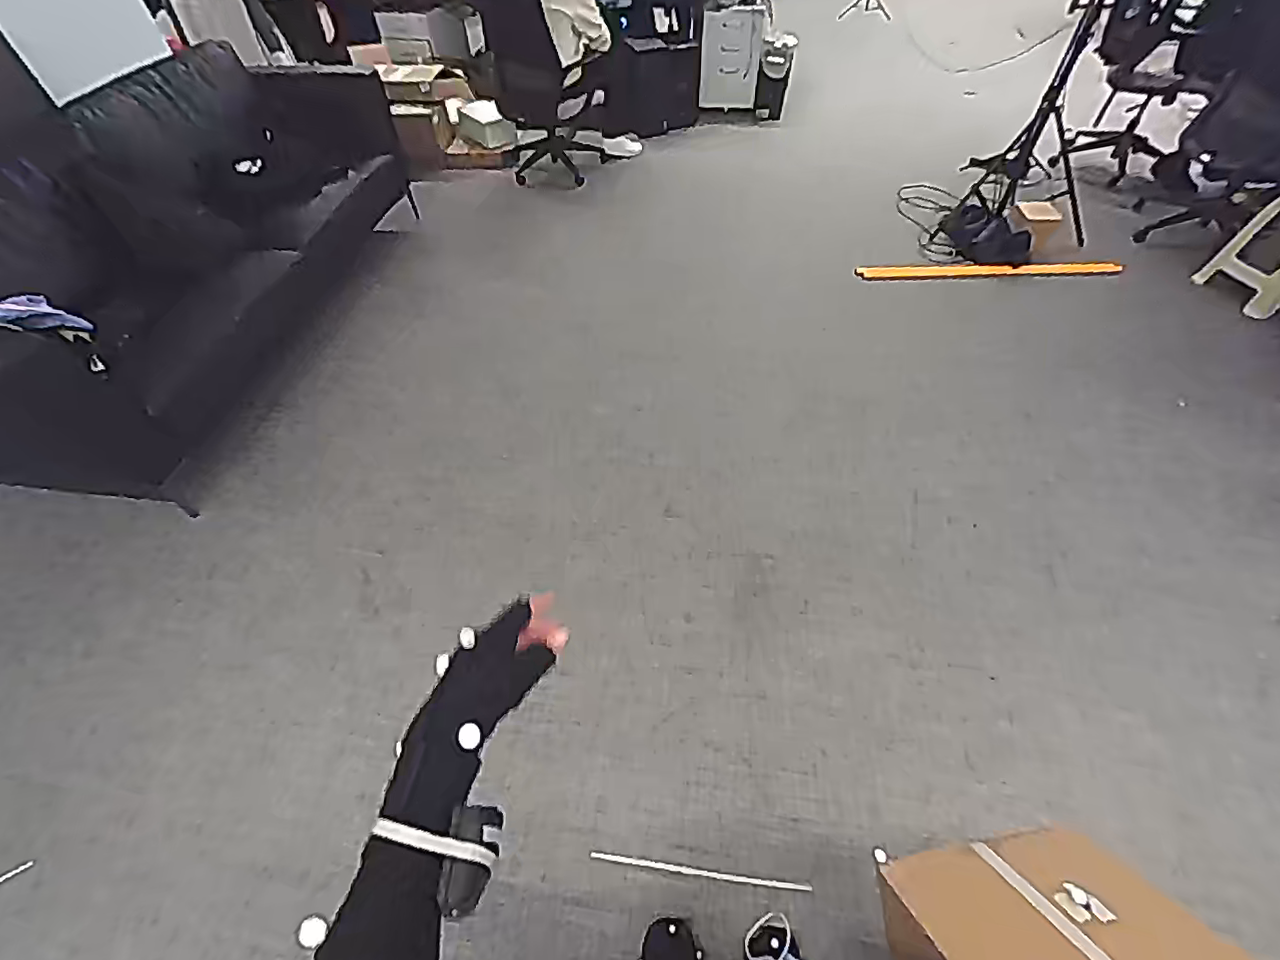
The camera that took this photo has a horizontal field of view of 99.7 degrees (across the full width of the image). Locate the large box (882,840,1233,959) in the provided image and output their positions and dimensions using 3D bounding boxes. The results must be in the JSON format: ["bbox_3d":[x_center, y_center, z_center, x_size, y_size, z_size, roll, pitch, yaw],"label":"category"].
[{"bbox_3d":[0.547,0.716,0.619,0.320,0.408,0.320,-6,89,-5],"label":"large box"}]
